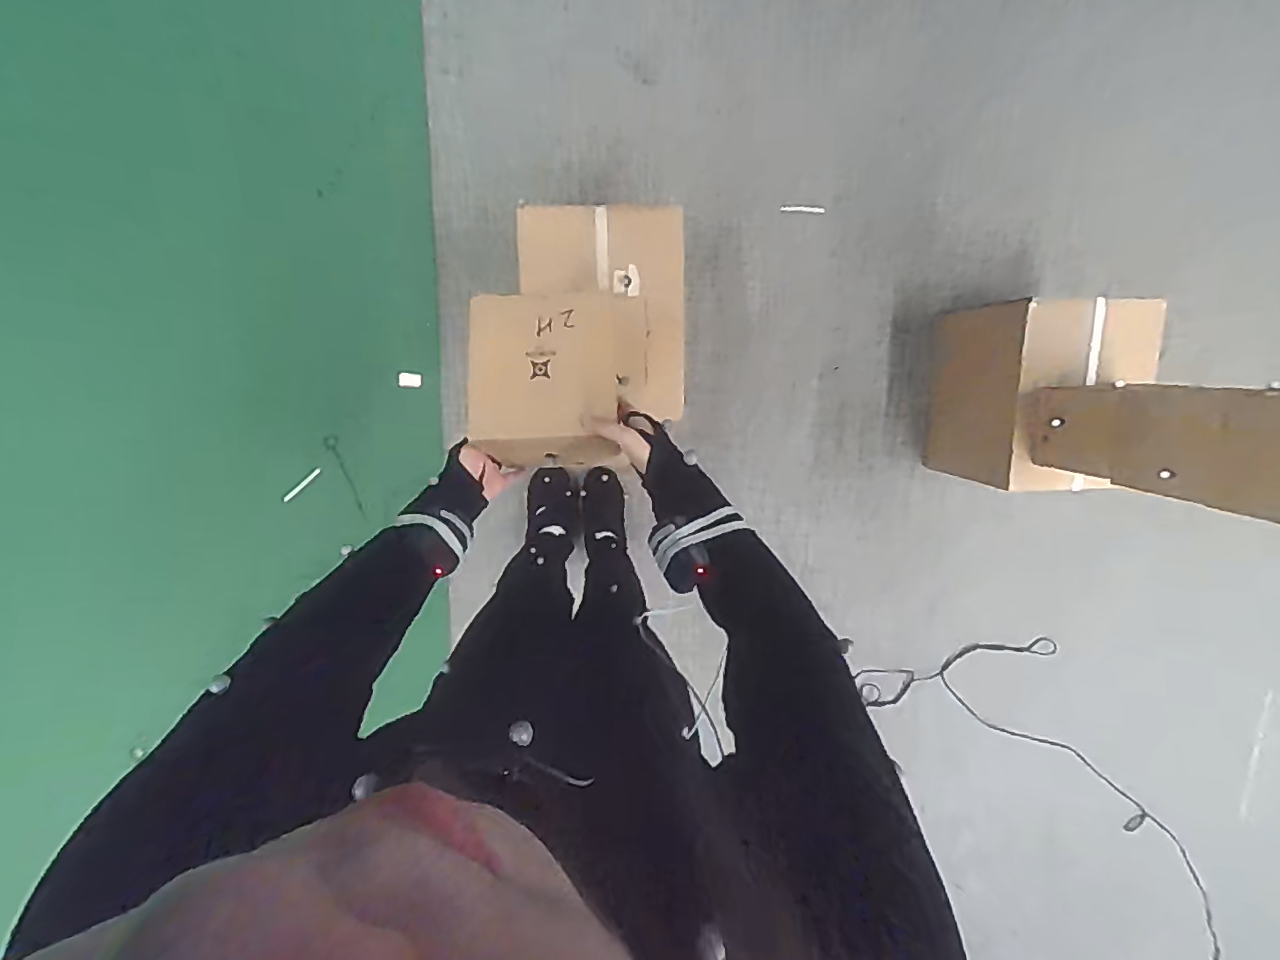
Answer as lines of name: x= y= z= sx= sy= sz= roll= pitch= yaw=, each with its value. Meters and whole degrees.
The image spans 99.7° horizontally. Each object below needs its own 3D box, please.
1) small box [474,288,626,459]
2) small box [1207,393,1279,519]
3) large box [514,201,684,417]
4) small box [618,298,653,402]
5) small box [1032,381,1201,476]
small box: x=-0.104 y=-0.123 z=0.692 sx=0.168 sy=0.176 sz=0.179 roll=-1 pitch=81 yaw=1
small box: x=0.966 y=-0.029 z=0.755 sx=0.168 sy=0.176 sz=0.179 roll=0 pitch=103 yaw=-4
large box: x=-0.082 y=-0.344 z=1.178 sx=0.320 sy=0.320 sz=0.408 roll=-2 pitch=101 yaw=-5
small box: x=-0.074 y=-0.228 z=0.950 sx=0.179 sy=0.176 sz=0.168 roll=1 pitch=100 yaw=-3
small box: x=0.933 y=-0.108 z=1.073 sx=0.179 sy=0.176 sz=0.168 roll=-3 pitch=102 yaw=-3
